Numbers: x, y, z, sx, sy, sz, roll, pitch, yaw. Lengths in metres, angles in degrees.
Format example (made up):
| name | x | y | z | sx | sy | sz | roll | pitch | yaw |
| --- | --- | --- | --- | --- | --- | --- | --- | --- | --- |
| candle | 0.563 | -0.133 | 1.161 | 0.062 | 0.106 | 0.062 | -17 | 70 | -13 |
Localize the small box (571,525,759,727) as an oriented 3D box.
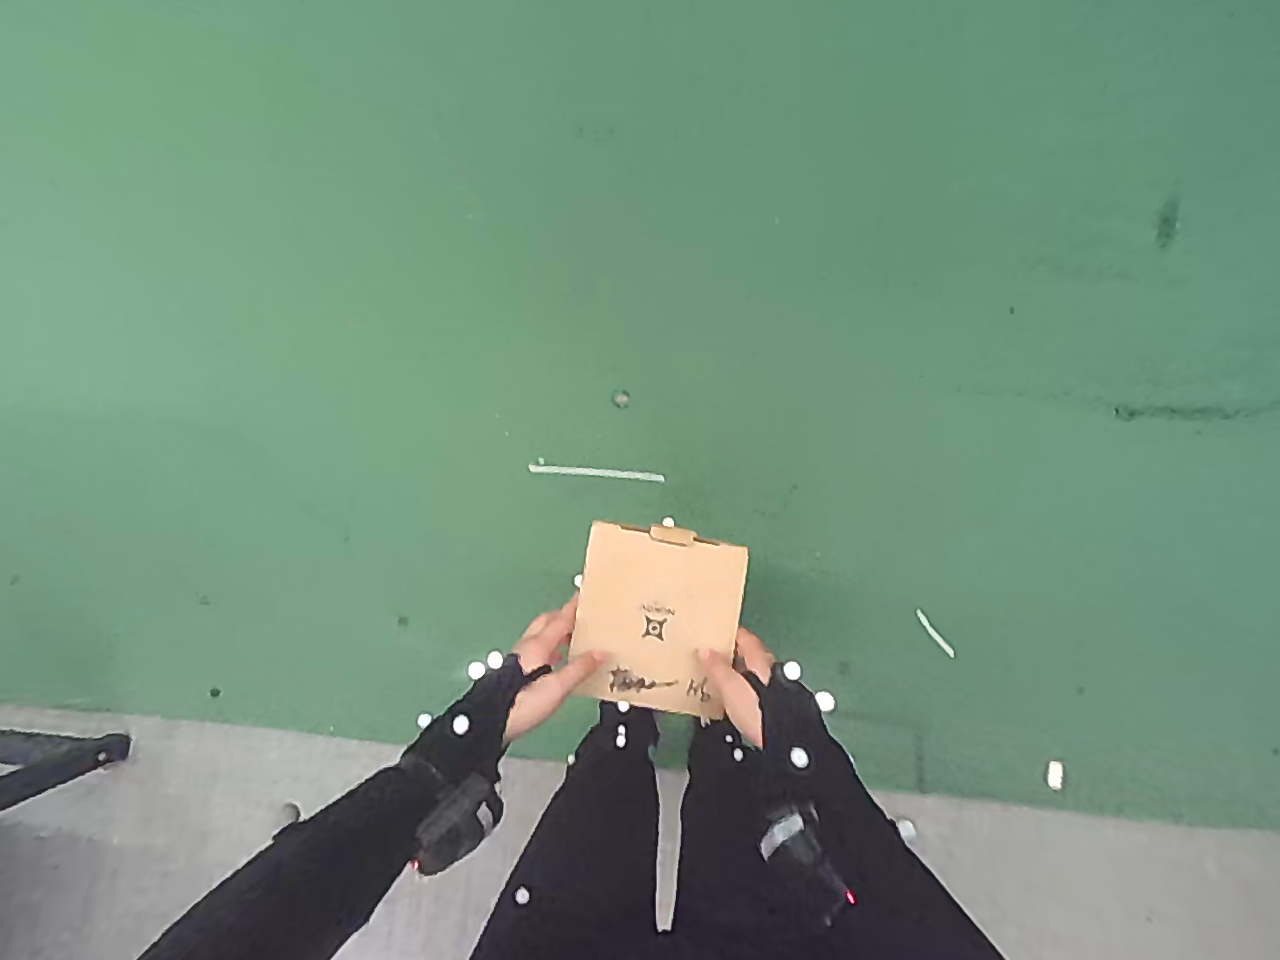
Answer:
| name | x | y | z | sx | sy | sz | roll | pitch | yaw |
| --- | --- | --- | --- | --- | --- | --- | --- | --- | --- |
| small box | 0.022 | 0.150 | 0.616 | 0.168 | 0.176 | 0.179 | 11 | 86 | -2 |
